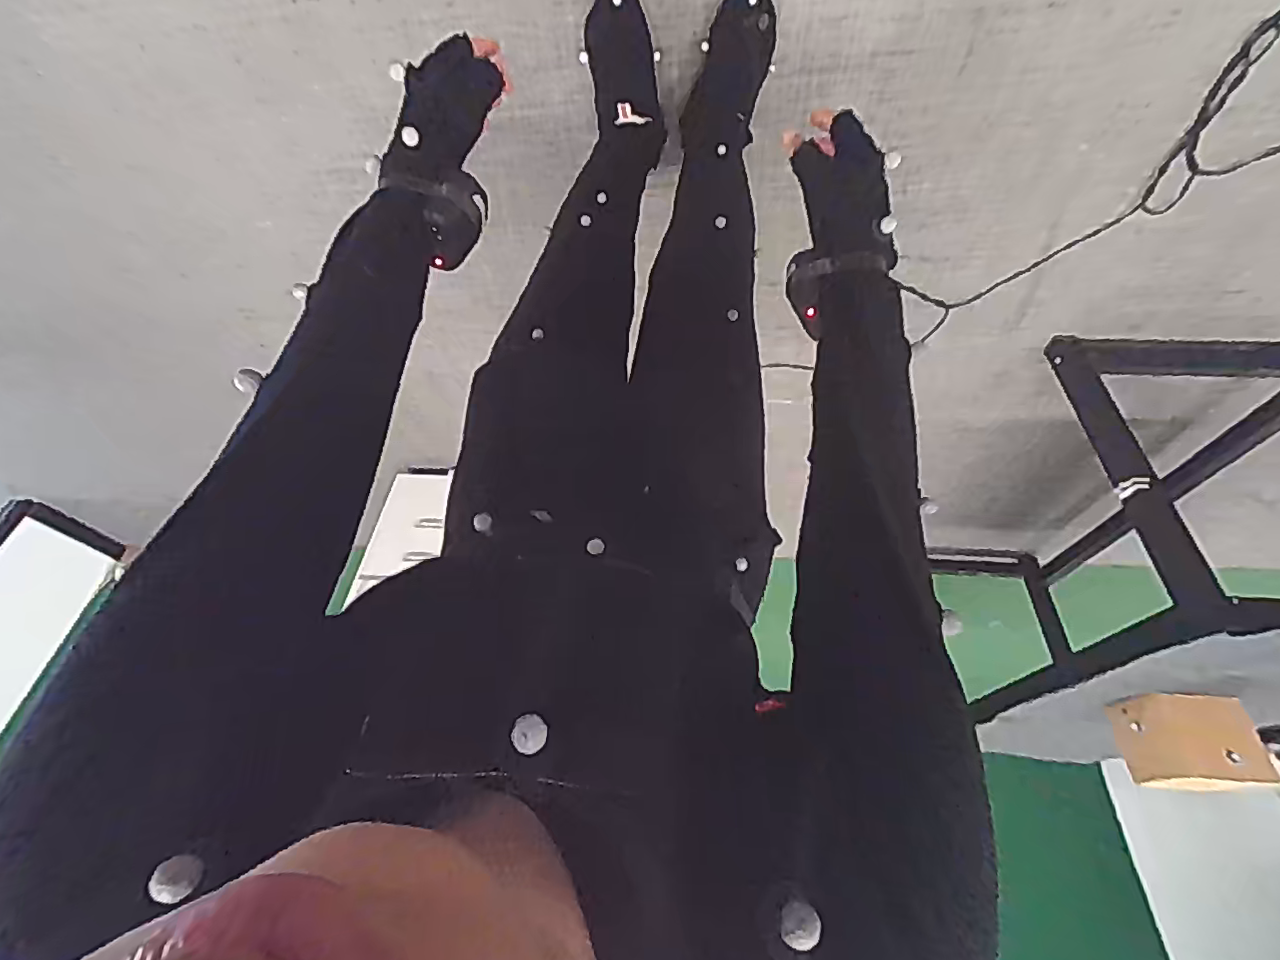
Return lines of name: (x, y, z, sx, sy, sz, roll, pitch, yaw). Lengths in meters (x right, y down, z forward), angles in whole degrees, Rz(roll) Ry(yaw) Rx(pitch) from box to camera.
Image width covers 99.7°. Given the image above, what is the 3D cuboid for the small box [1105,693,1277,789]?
small box: (1.202, 0.578, 1.198, 0.179, 0.176, 0.168, 2, 146, 4)
